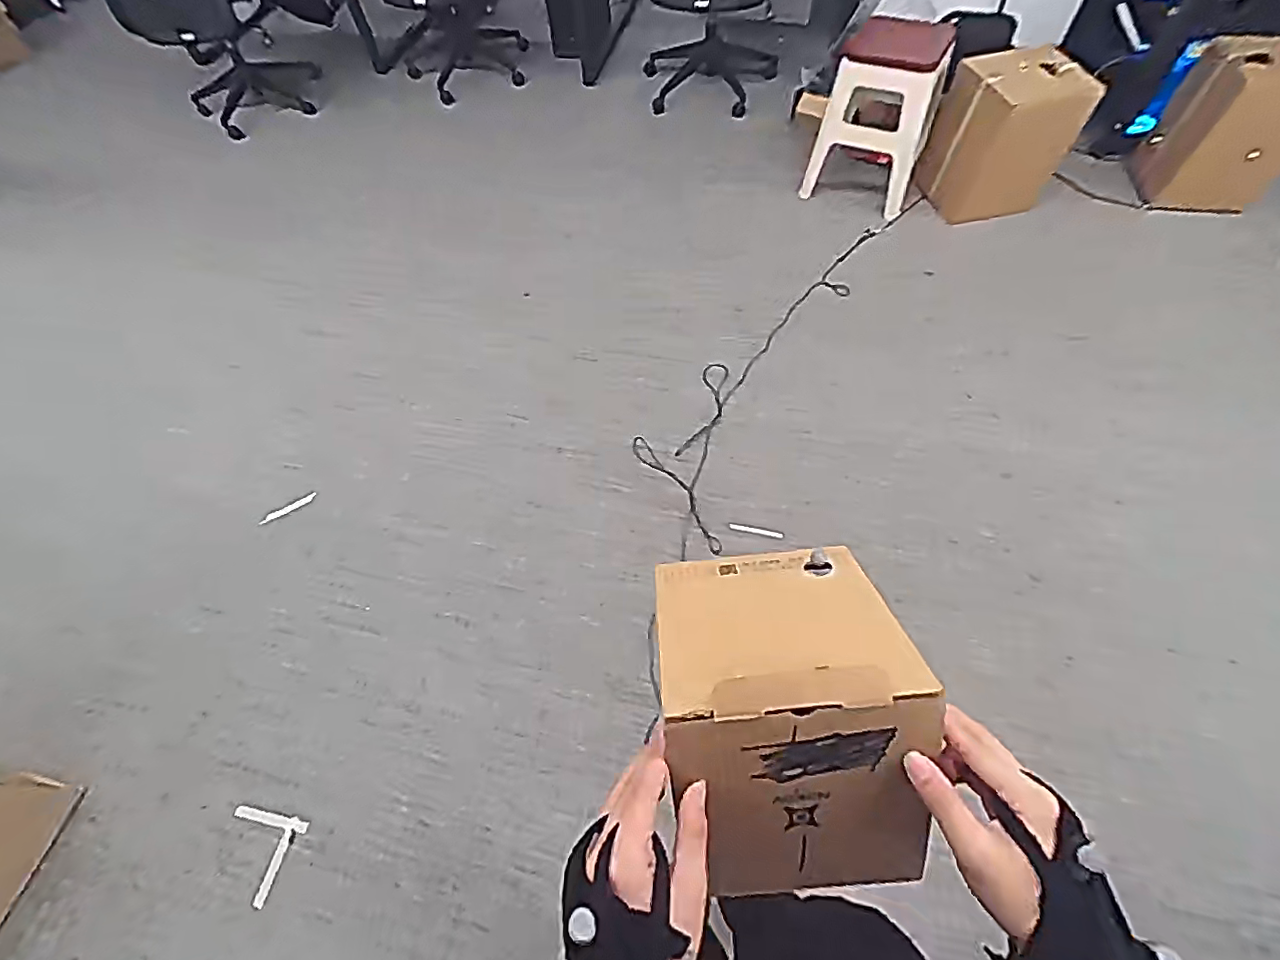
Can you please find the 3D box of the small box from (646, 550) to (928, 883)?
[{"bbox_3d":[0.096,0.167,0.424,0.168,0.179,0.176,-6,24,2],"label":"small box"}]
